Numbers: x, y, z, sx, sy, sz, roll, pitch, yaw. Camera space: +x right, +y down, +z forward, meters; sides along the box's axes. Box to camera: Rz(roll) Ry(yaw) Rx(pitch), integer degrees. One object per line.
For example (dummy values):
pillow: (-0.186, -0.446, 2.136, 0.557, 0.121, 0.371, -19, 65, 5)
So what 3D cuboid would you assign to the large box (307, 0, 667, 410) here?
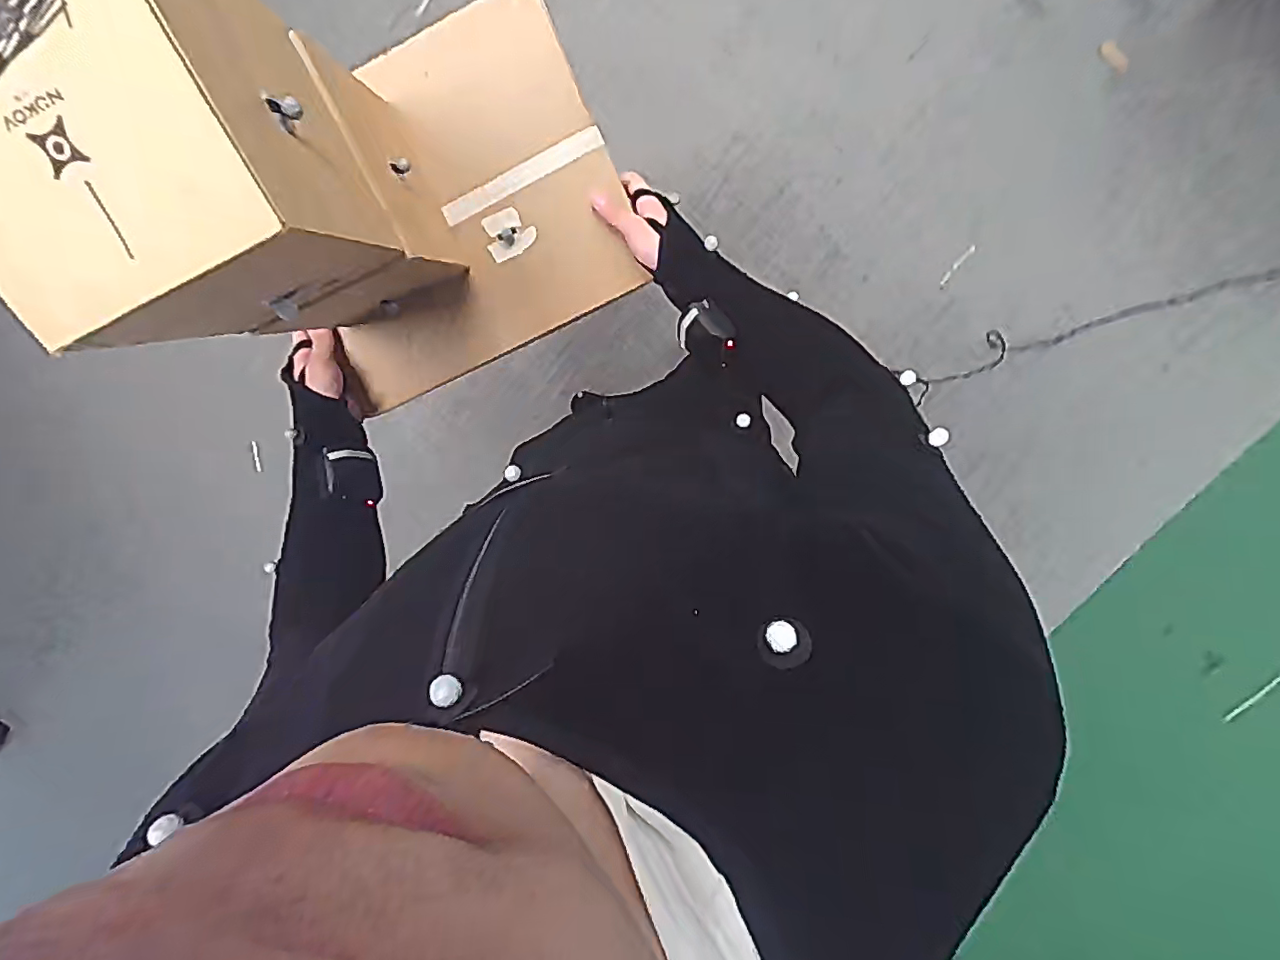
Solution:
large box: (-0.213, -0.340, 0.740, 0.408, 0.320, 0.320, -24, 108, 6)

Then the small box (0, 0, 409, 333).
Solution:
small box: (-0.288, -0.211, 0.350, 0.168, 0.176, 0.179, -22, 108, 6)
